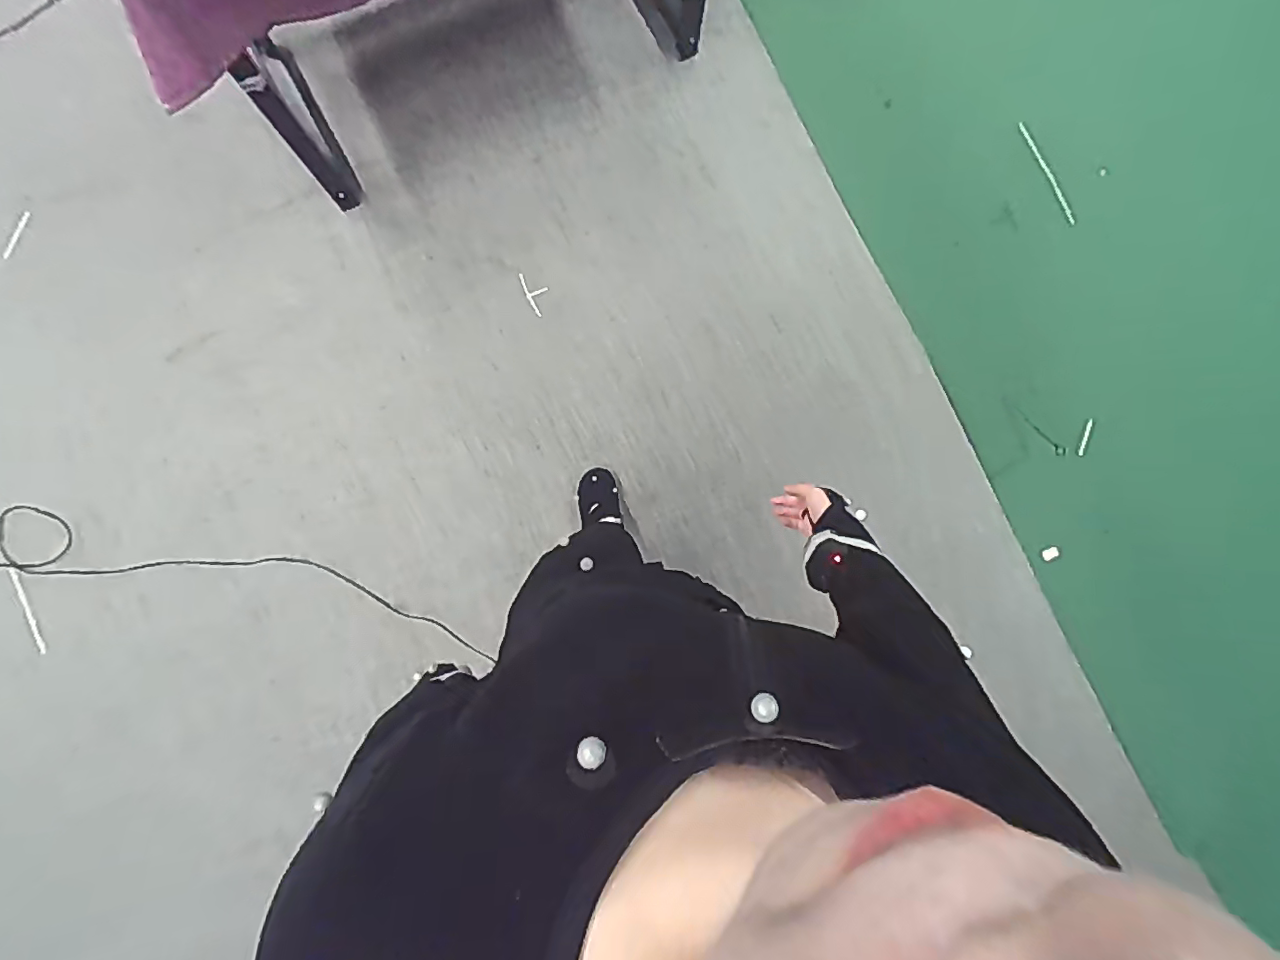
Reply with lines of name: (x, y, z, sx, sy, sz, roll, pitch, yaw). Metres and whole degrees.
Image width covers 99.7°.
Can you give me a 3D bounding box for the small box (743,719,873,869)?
small box: (0.328, 0.618, 1.089, 0.168, 0.176, 0.179, -21, 87, -5)
